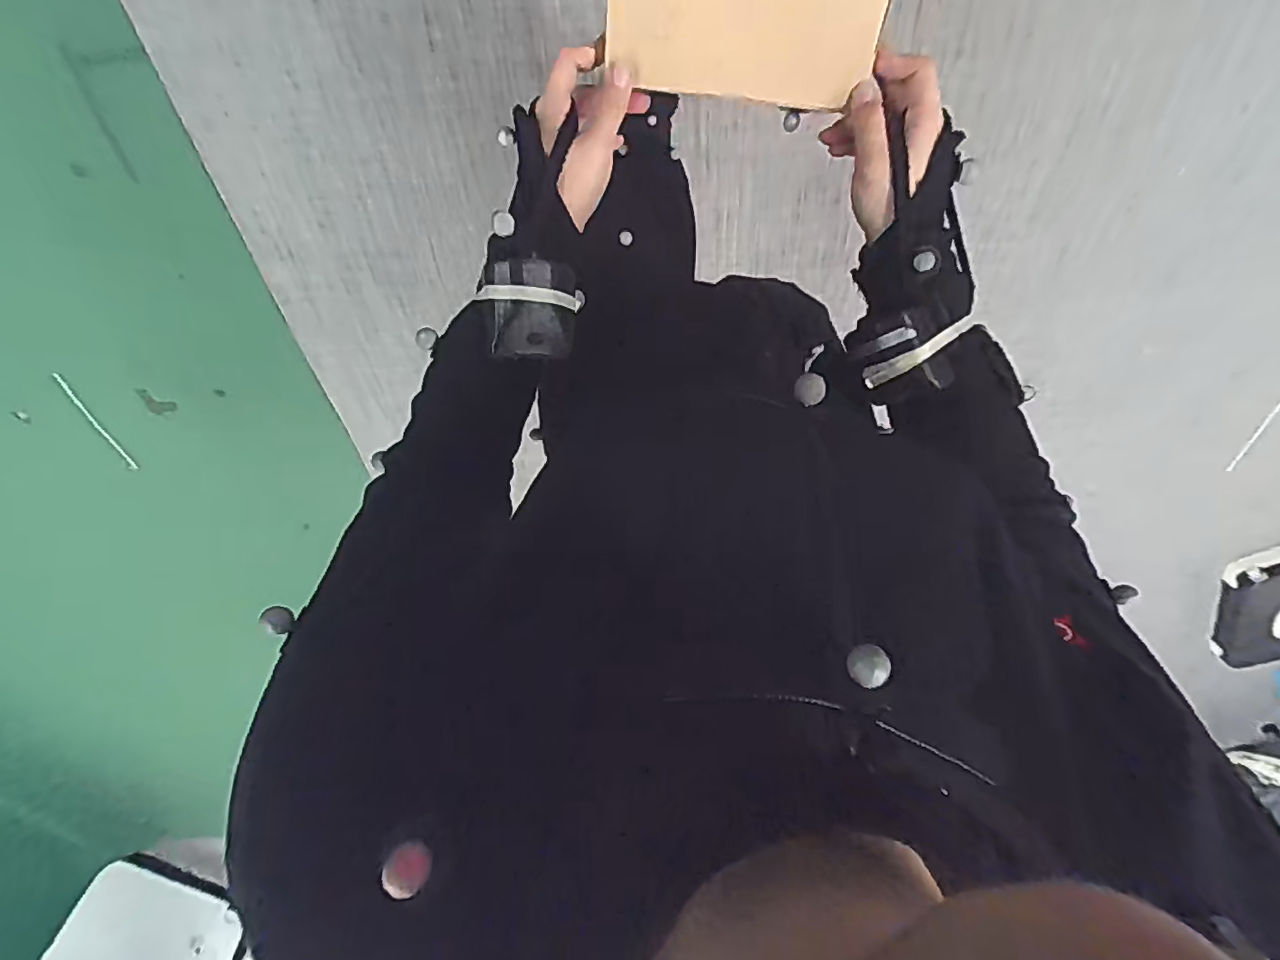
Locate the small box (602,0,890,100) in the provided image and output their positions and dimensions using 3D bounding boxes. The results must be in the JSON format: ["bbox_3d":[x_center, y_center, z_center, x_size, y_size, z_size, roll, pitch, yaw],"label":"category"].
[{"bbox_3d":[0.070,-0.370,0.373,0.179,0.176,0.168,4,126,-2],"label":"small box"}]
